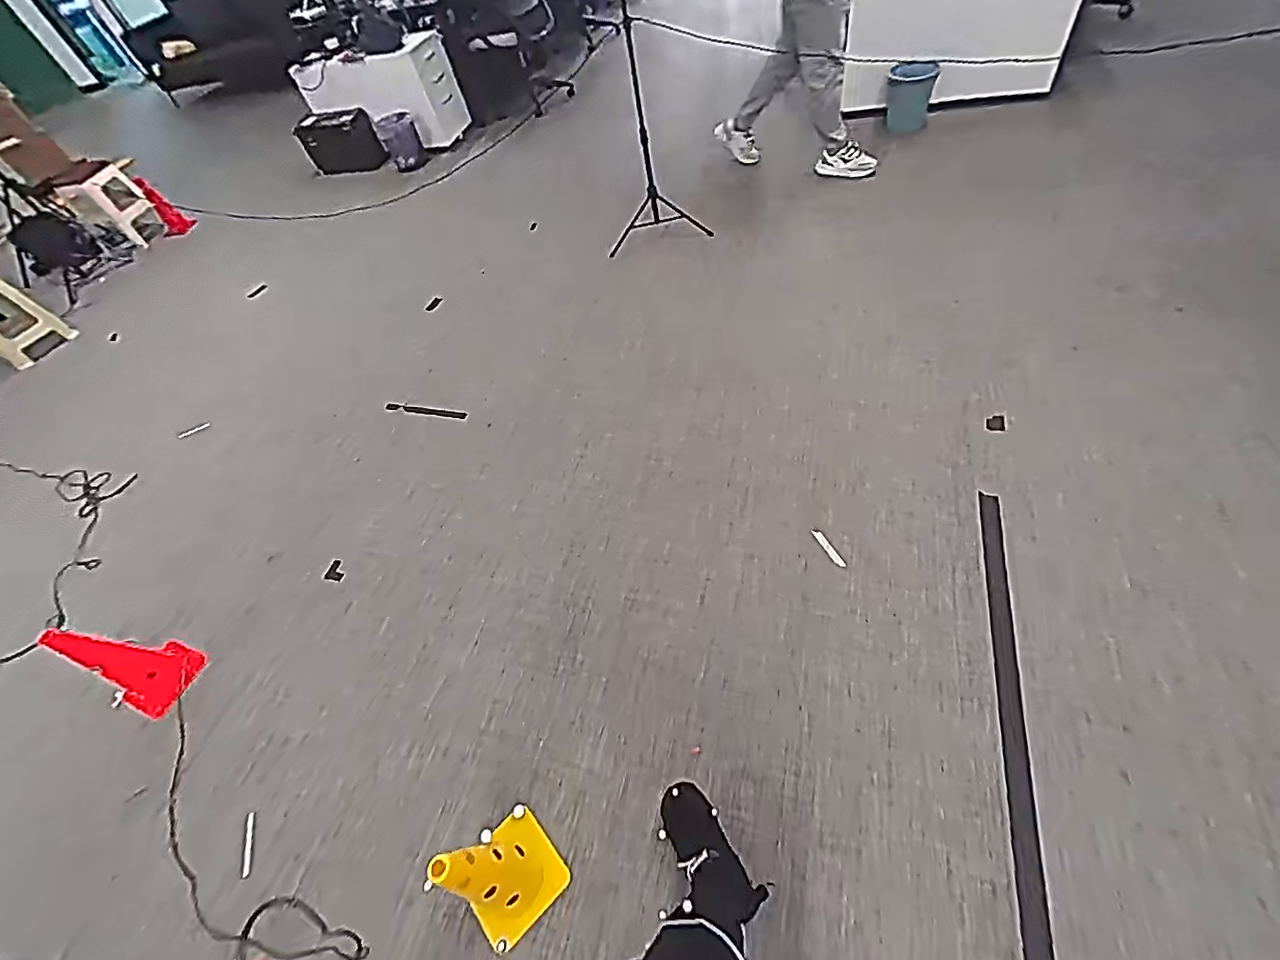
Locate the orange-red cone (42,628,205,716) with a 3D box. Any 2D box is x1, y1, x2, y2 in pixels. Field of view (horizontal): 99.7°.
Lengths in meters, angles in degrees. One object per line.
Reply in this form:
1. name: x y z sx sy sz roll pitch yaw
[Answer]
1. orange-red cone: -1.492 0.501 1.530 0.199 0.360 0.198 14 58 21
